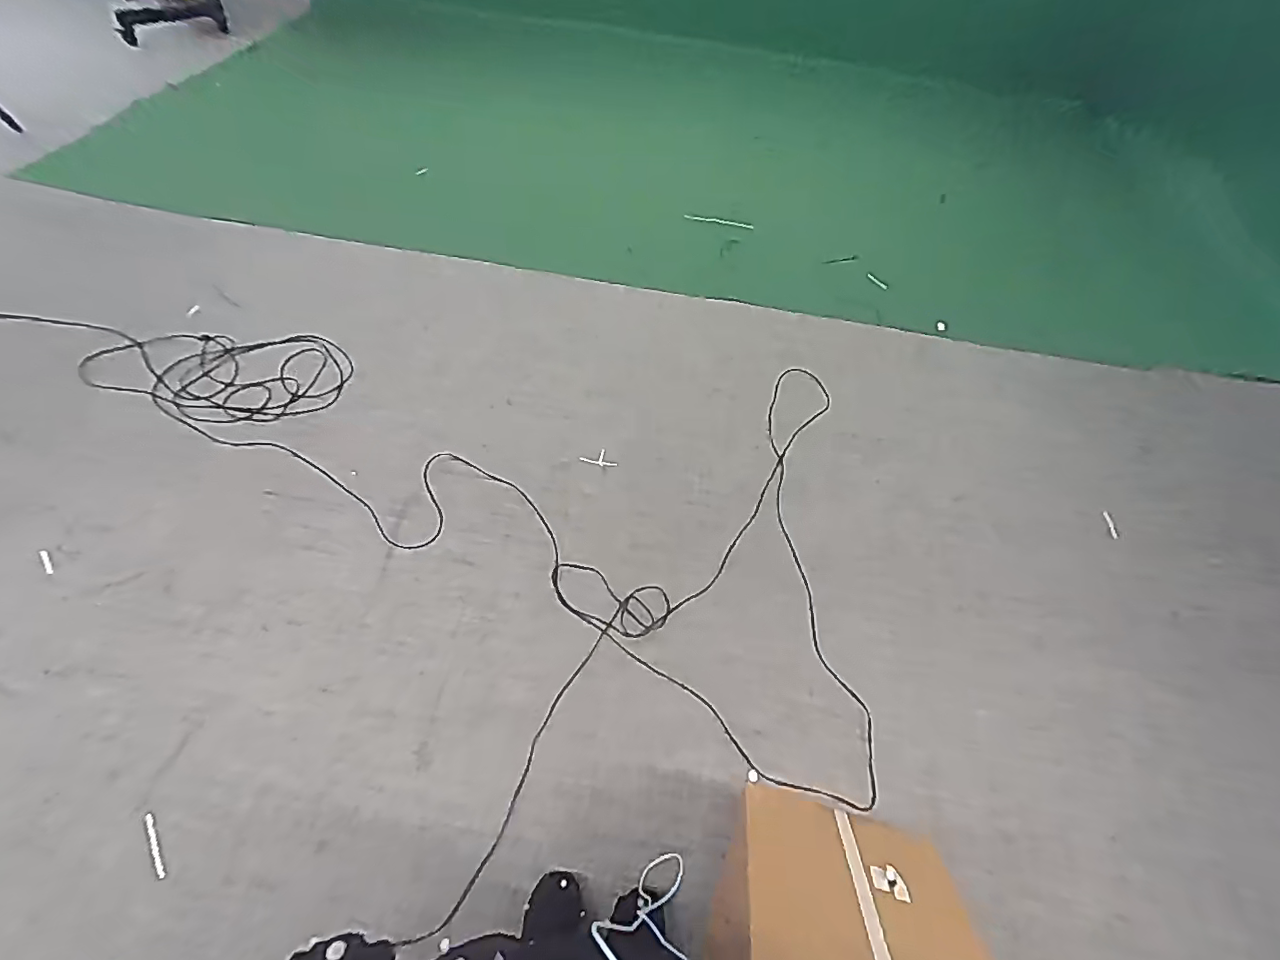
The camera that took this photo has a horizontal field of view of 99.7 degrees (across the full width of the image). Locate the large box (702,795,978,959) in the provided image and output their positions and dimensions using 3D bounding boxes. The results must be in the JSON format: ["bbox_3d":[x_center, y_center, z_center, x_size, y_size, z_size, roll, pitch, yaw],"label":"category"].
[{"bbox_3d":[0.257,0.731,0.723,0.320,0.408,0.320,16,94,9],"label":"large box"}]
